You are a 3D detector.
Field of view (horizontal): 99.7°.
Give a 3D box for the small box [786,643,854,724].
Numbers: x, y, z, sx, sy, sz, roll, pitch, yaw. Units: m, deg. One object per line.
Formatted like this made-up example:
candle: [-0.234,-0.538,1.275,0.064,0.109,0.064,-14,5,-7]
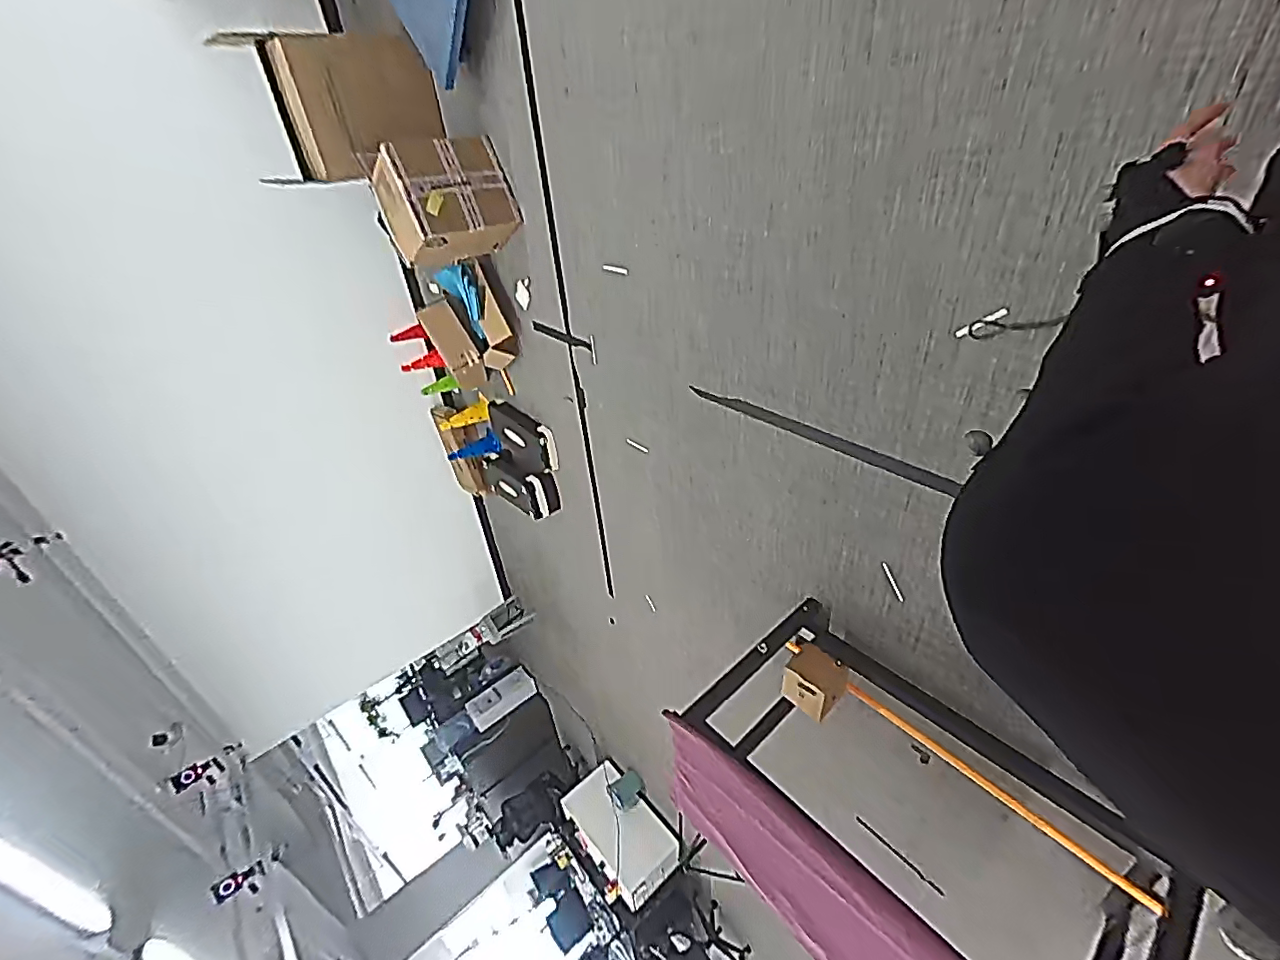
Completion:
small box: [0.648,0.724,1.943,0.168,0.176,0.179,30,138,40]
